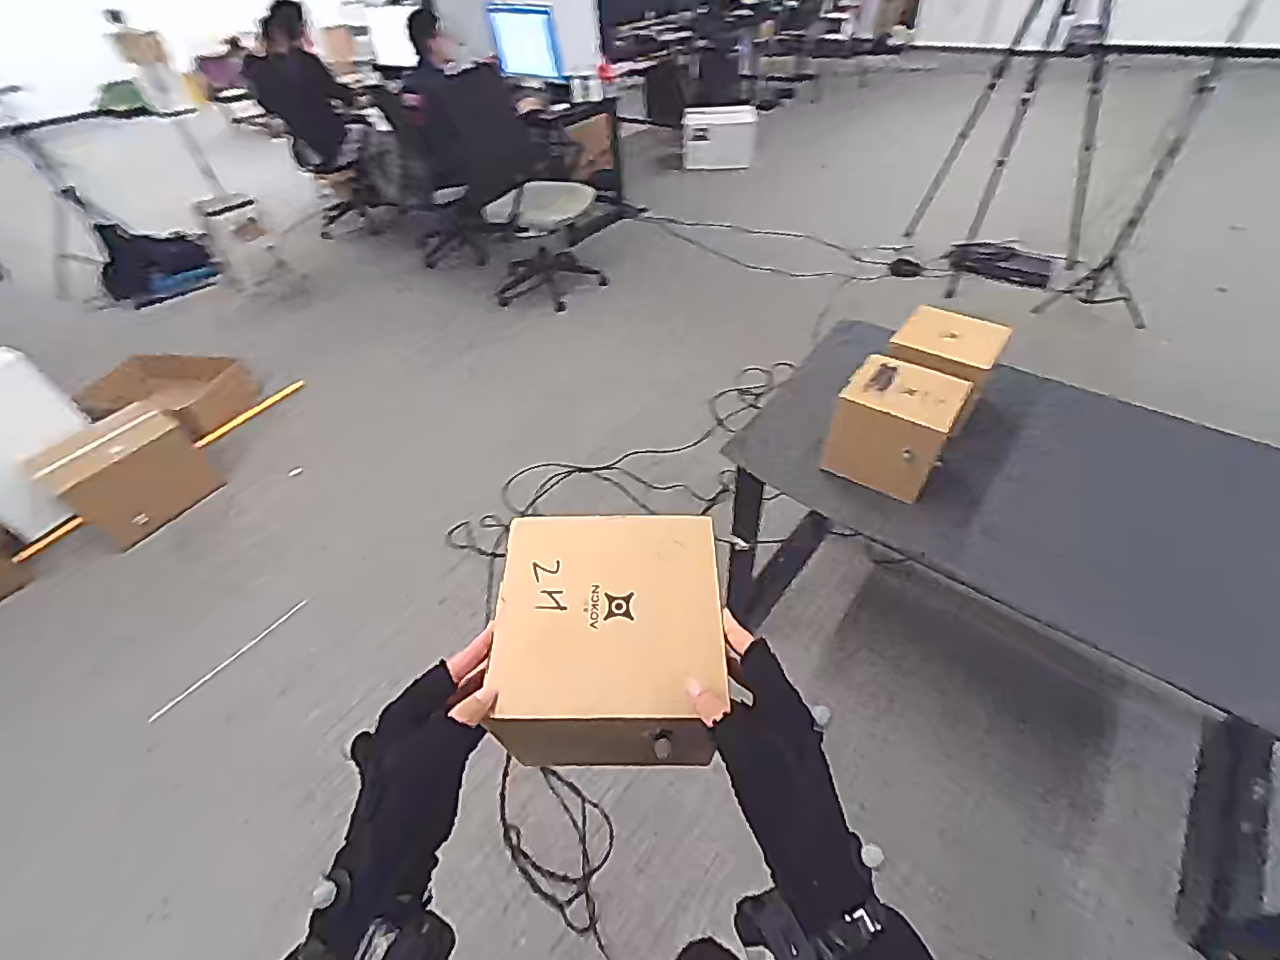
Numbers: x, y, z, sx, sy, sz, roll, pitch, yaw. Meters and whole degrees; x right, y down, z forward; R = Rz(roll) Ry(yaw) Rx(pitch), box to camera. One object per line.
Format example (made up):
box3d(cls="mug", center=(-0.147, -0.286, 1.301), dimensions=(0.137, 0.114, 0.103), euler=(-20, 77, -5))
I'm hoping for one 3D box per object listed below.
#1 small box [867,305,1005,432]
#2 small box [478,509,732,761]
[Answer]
box3d(cls="small box", center=(0.588, -0.222, 1.090), dimensions=(0.179, 0.176, 0.168), euler=(27, 54, 28))
box3d(cls="small box", center=(-0.021, 0.141, 0.478), dimensions=(0.179, 0.176, 0.168), euler=(0, 52, 2))
